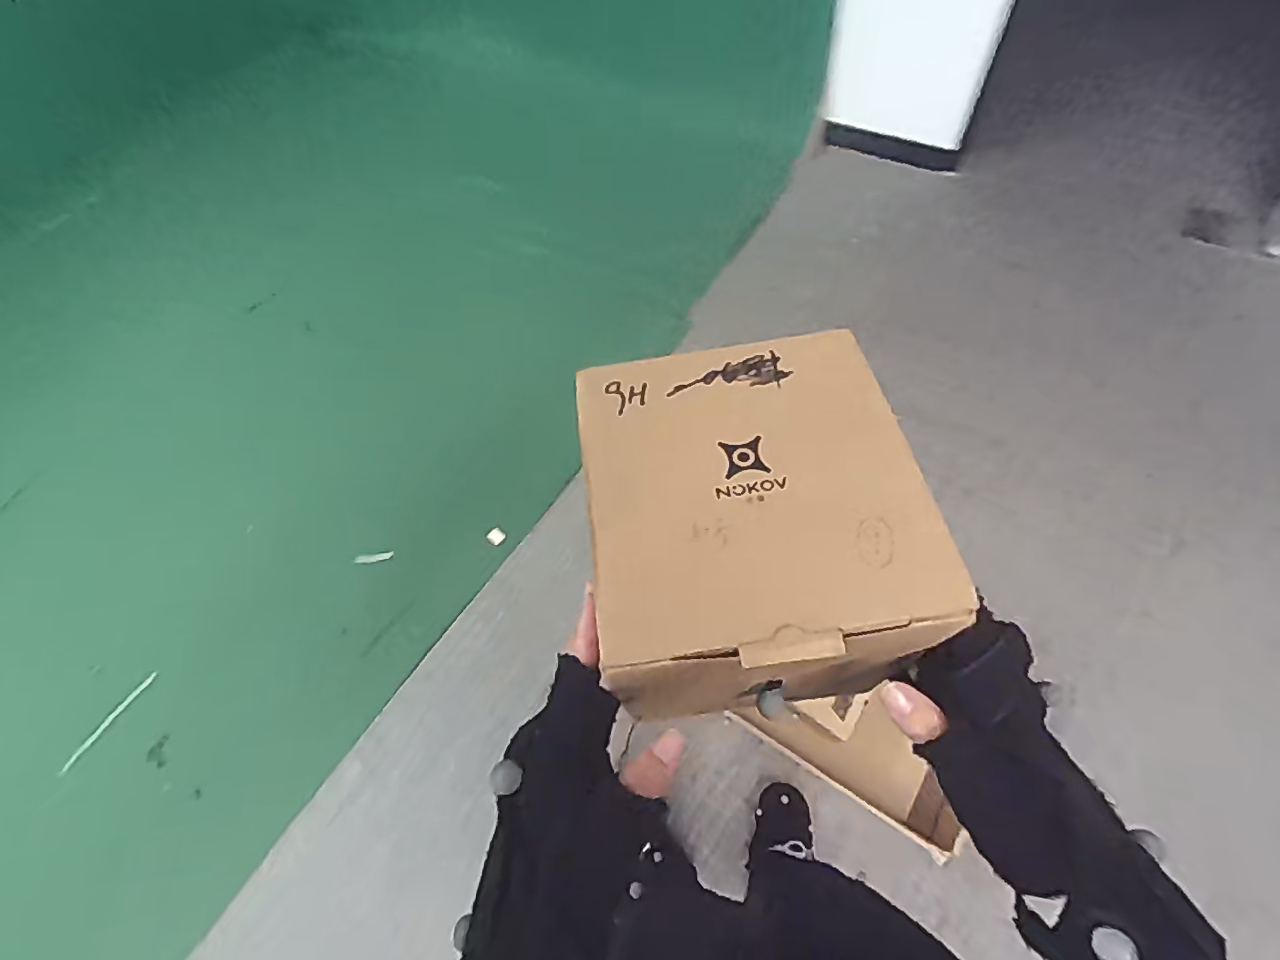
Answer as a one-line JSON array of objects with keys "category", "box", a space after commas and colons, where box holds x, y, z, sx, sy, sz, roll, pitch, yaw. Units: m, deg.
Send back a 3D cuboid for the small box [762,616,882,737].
[{"category": "small box", "box": [0.375, 0.414, 1.143, 0.179, 0.176, 0.168, 29, 73, 20]}]
